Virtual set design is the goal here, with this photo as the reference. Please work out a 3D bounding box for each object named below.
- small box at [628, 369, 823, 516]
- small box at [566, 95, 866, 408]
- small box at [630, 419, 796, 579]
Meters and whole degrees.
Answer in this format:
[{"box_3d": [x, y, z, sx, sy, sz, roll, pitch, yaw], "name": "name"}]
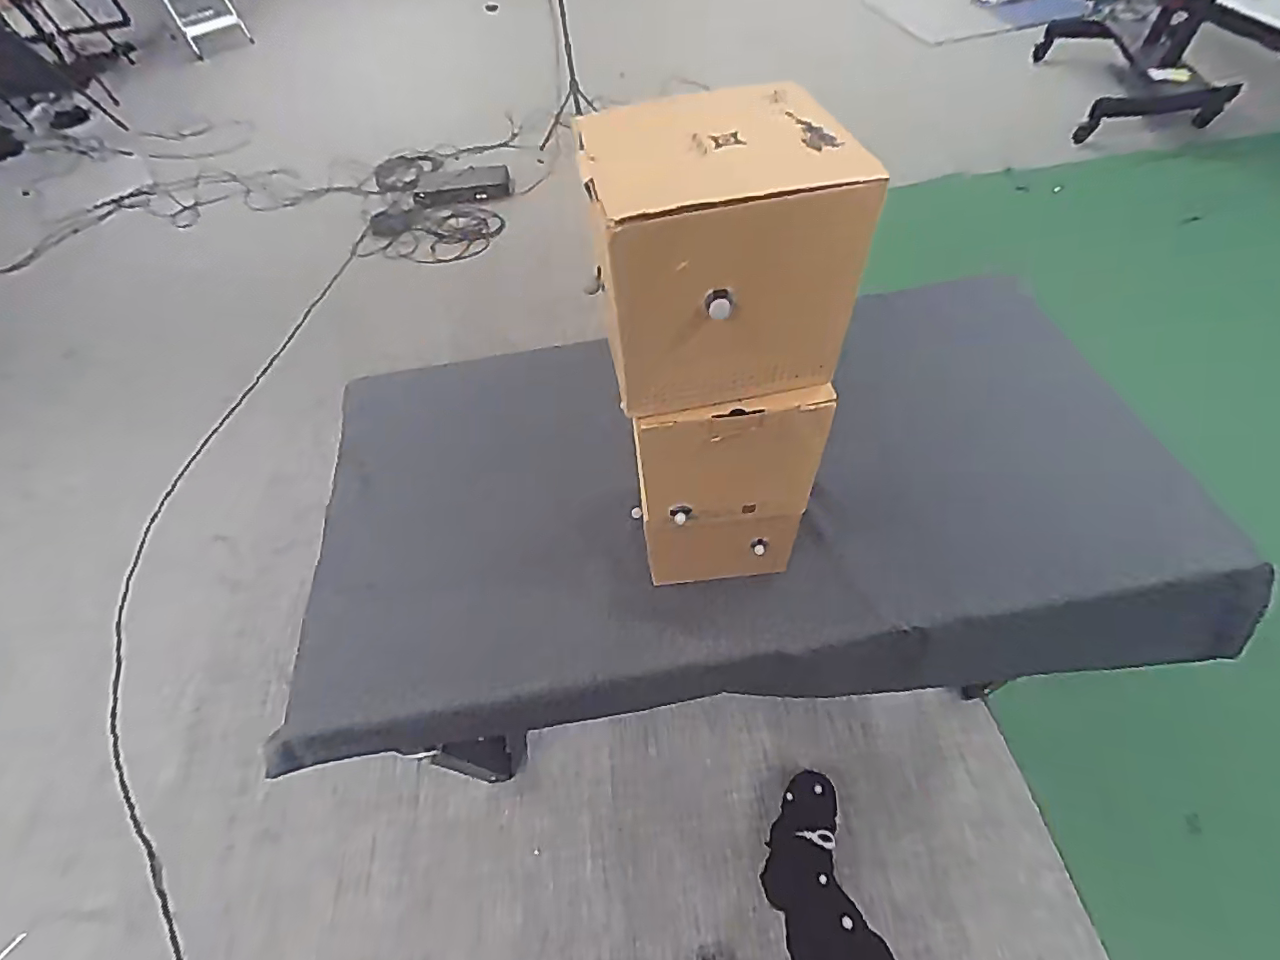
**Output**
[{"box_3d": [0.072, -0.076, 0.565, 0.168, 0.176, 0.179, -9, 55, -1], "name": "small box"}, {"box_3d": [0.049, -0.180, 0.443, 0.179, 0.176, 0.168, -13, 52, -5], "name": "small box"}, {"box_3d": [0.086, 0.014, 0.702, 0.179, 0.176, 0.168, -8, 54, 2], "name": "small box"}]
